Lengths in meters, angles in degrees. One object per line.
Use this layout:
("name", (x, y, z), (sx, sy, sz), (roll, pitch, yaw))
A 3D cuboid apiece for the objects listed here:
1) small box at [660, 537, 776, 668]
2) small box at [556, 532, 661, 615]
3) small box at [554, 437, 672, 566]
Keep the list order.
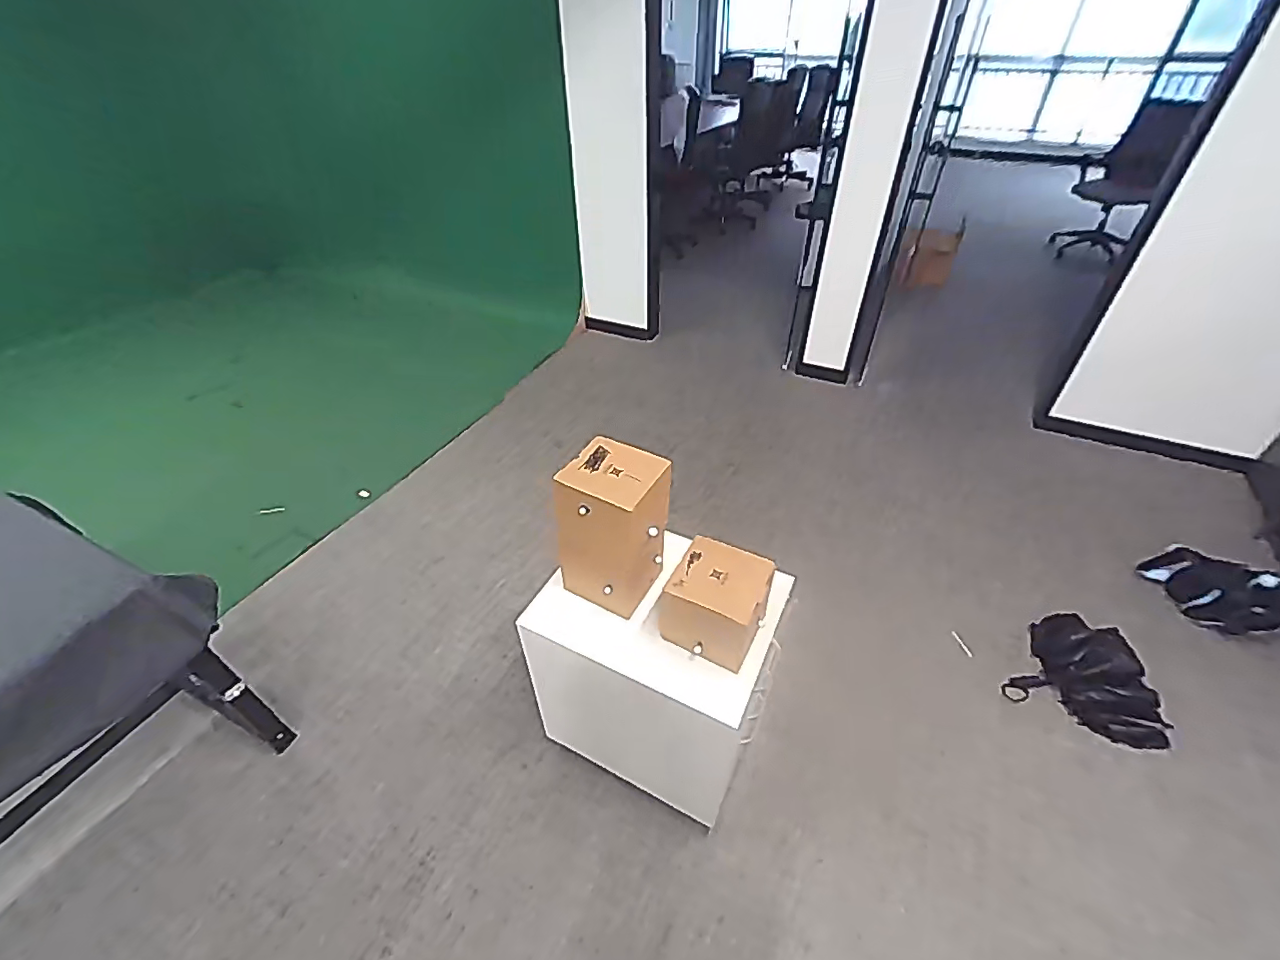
("small box", (0.154, 0.252, 1.097), (0.179, 0.176, 0.168), (21, 45, 21))
("small box", (-0.063, 0.170, 1.191), (0.179, 0.176, 0.168), (20, 43, 21))
("small box", (-0.053, 0.044, 1.085), (0.179, 0.176, 0.168), (22, 45, 20))
